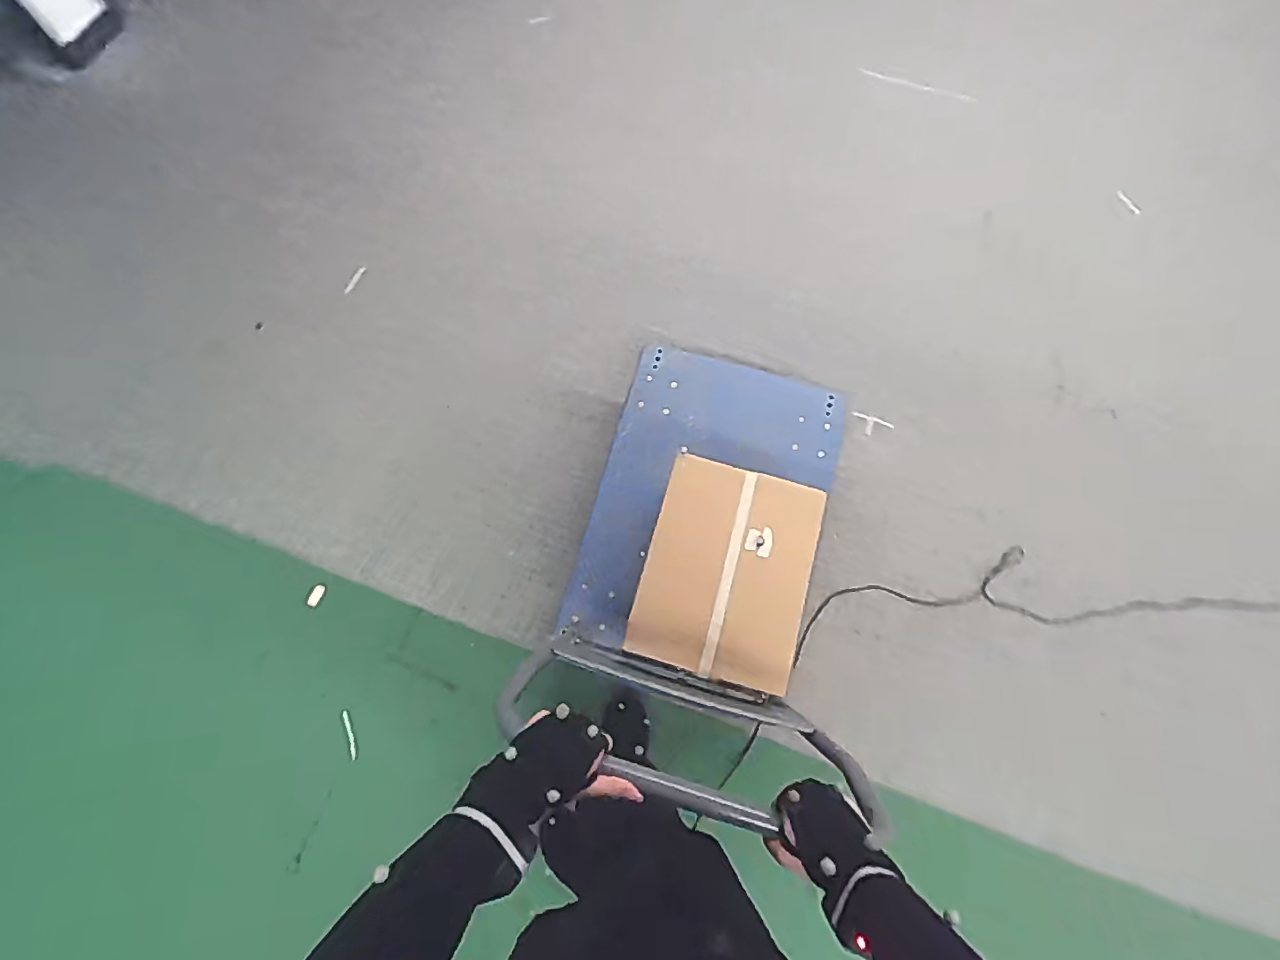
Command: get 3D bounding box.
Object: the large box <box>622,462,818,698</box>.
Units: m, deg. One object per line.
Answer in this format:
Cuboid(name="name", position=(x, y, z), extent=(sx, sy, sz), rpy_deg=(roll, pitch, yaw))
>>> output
Cuboid(name="large box", position=(0.164, 0.225, 1.204), extent=(0.320, 0.320, 0.408), rpy_deg=(16, 75, 4))
